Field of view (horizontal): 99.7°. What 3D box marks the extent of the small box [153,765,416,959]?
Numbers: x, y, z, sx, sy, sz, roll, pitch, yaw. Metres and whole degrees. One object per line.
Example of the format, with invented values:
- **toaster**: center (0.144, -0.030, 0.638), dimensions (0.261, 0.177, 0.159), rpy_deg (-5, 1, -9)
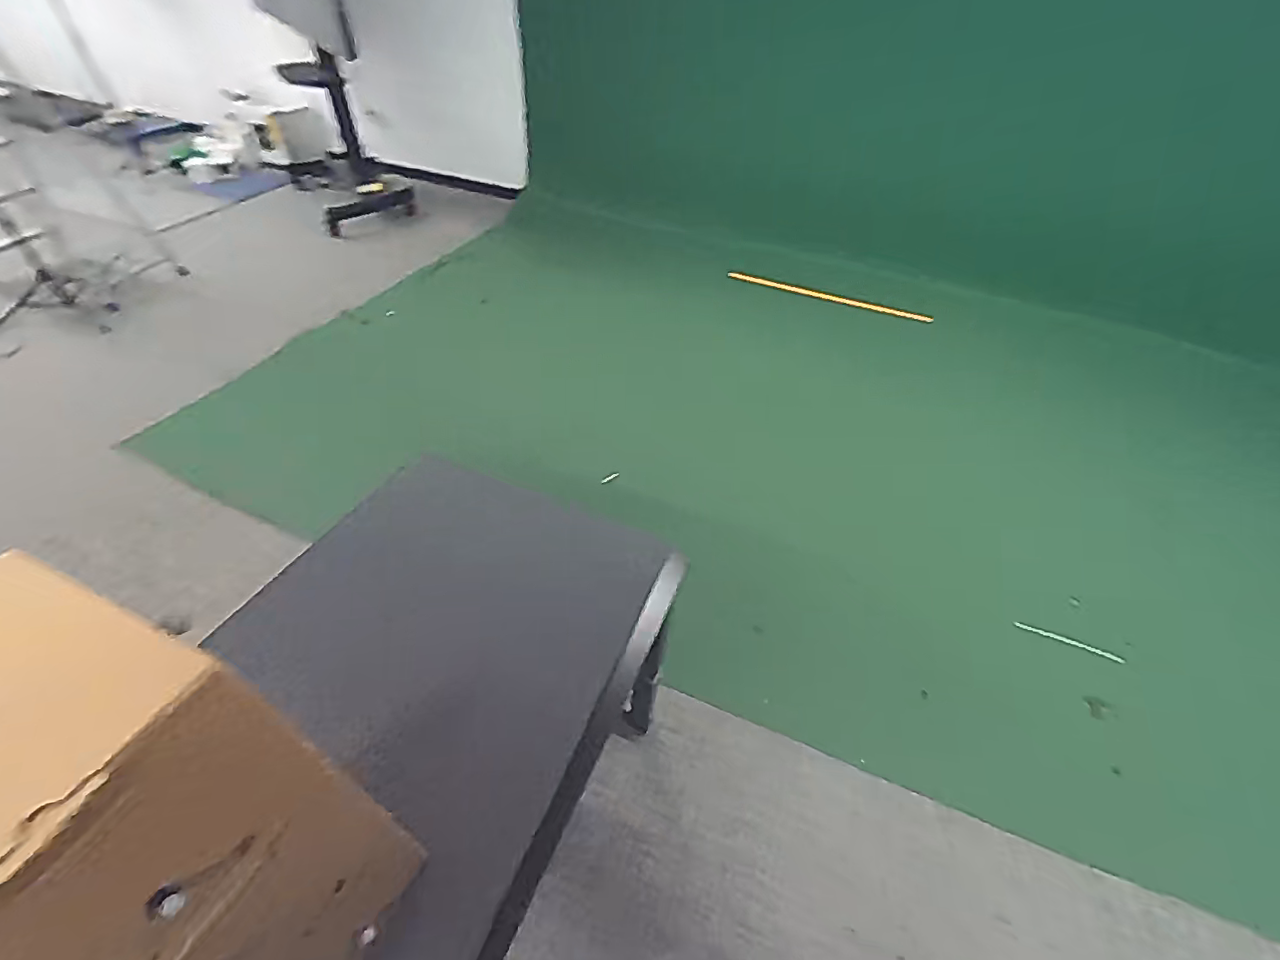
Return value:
- **small box**: center (-0.360, 0.394, 0.538), dimensions (0.179, 0.176, 0.168), rpy_deg (20, 47, 15)
